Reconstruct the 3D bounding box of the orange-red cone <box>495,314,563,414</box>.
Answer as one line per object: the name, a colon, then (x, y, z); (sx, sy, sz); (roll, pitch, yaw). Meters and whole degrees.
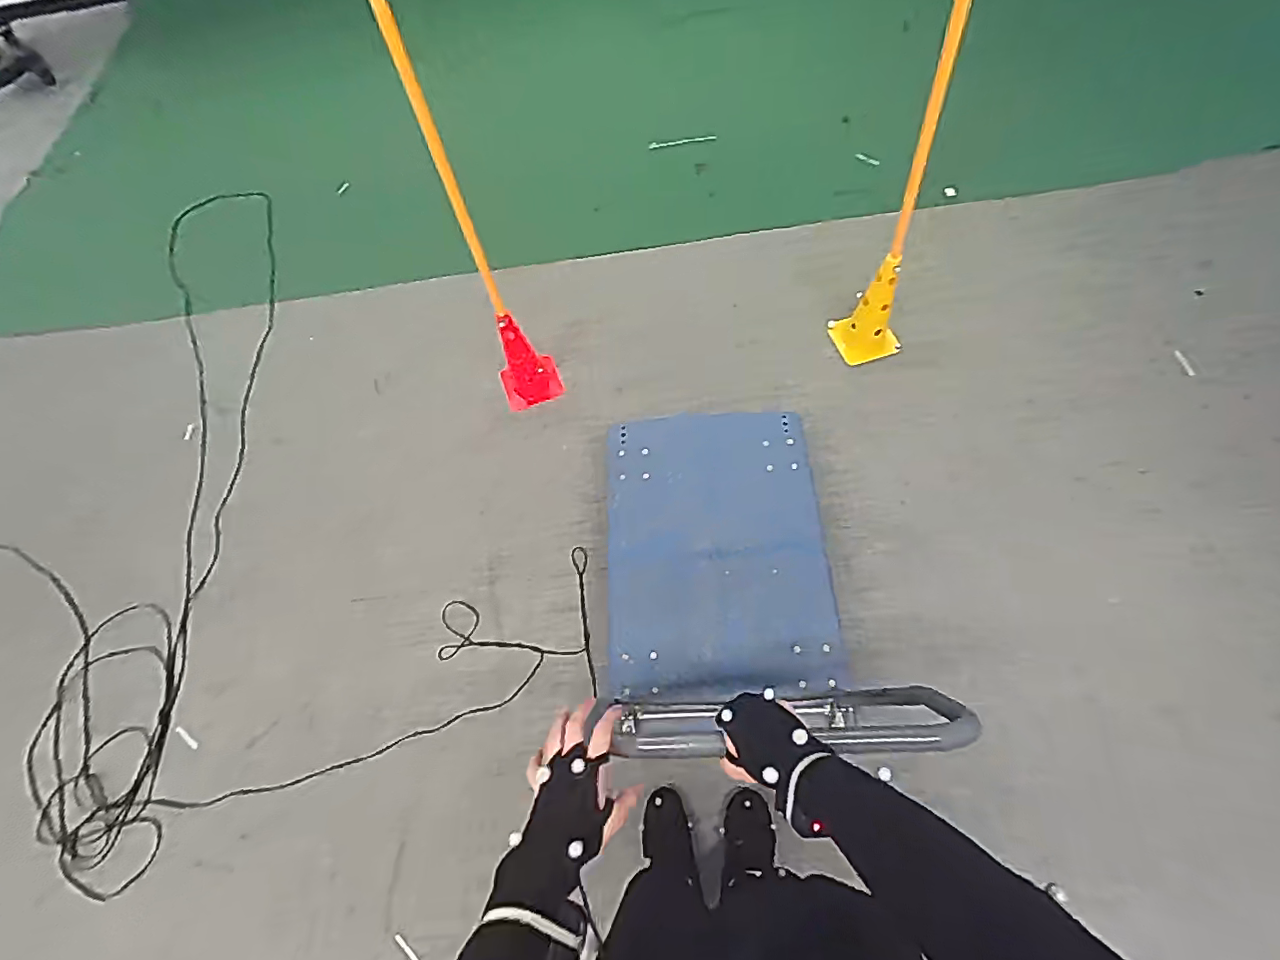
orange-red cone: (-0.408, -0.412, 1.797); (0.199, 0.360, 0.198); (-21, 63, -3)
